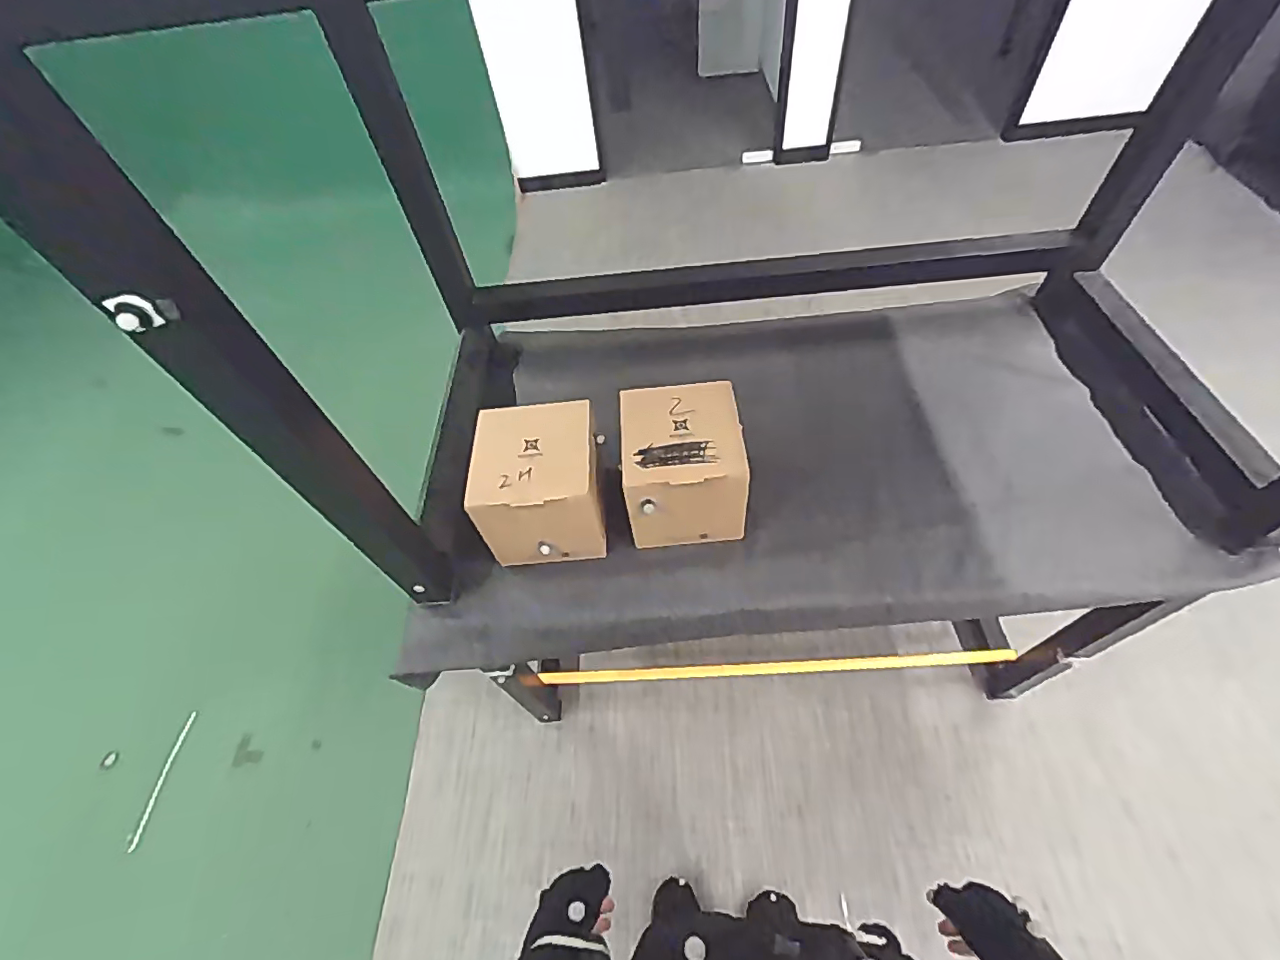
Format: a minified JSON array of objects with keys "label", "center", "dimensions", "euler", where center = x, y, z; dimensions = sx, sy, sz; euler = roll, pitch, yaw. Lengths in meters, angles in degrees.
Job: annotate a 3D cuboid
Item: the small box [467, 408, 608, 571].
[{"label":"small box","center":[-0.141,0.017,0.809],"dimensions":[0.168,0.176,0.179],"euler":[-5,53,2]}]
